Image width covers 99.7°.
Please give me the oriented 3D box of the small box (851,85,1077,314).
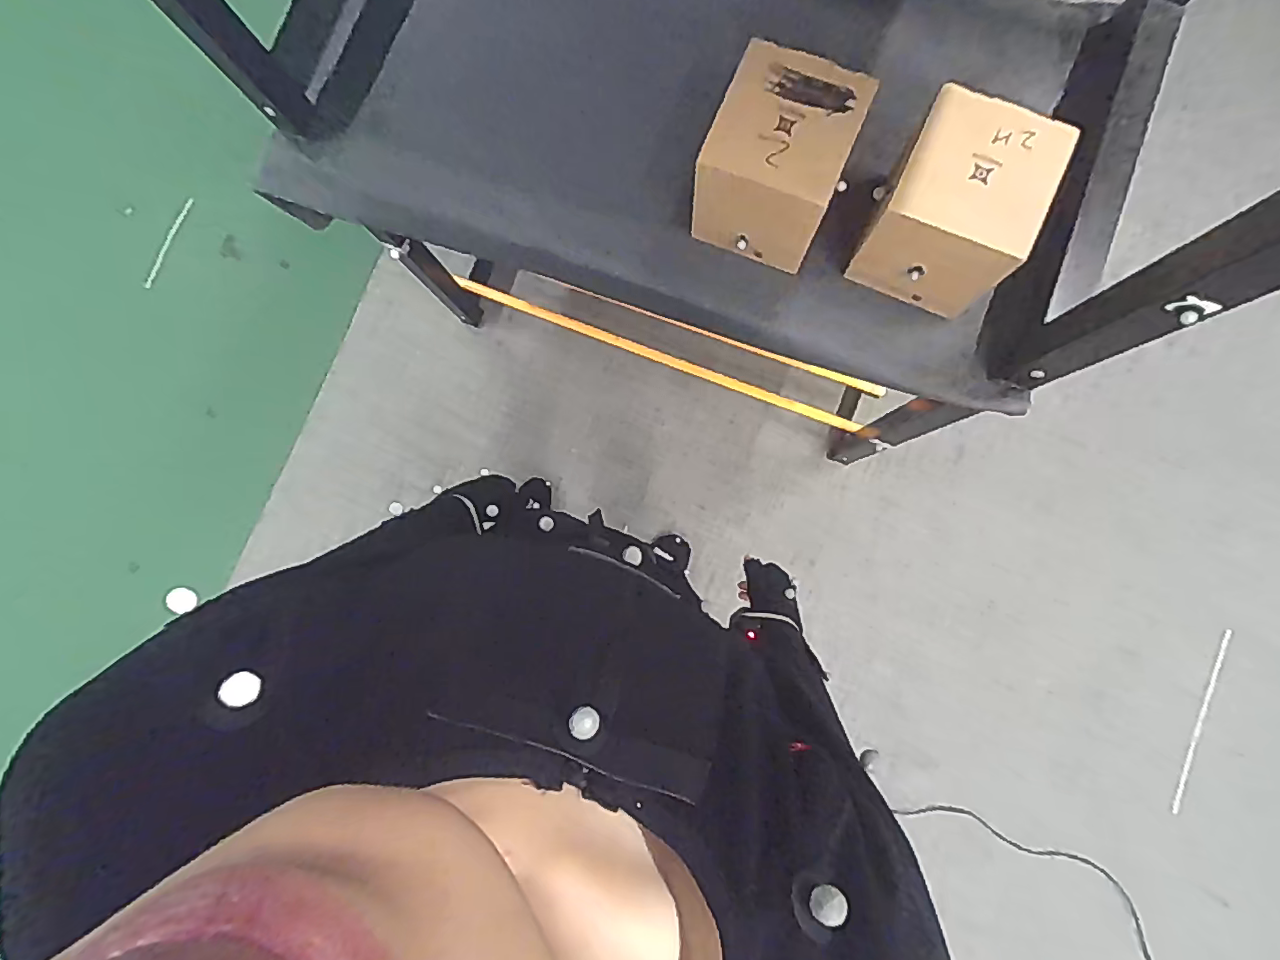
[{"bbox_3d":[0.397,-0.345,0.699,0.168,0.176,0.179,25,85,6],"label":"small box"}]
